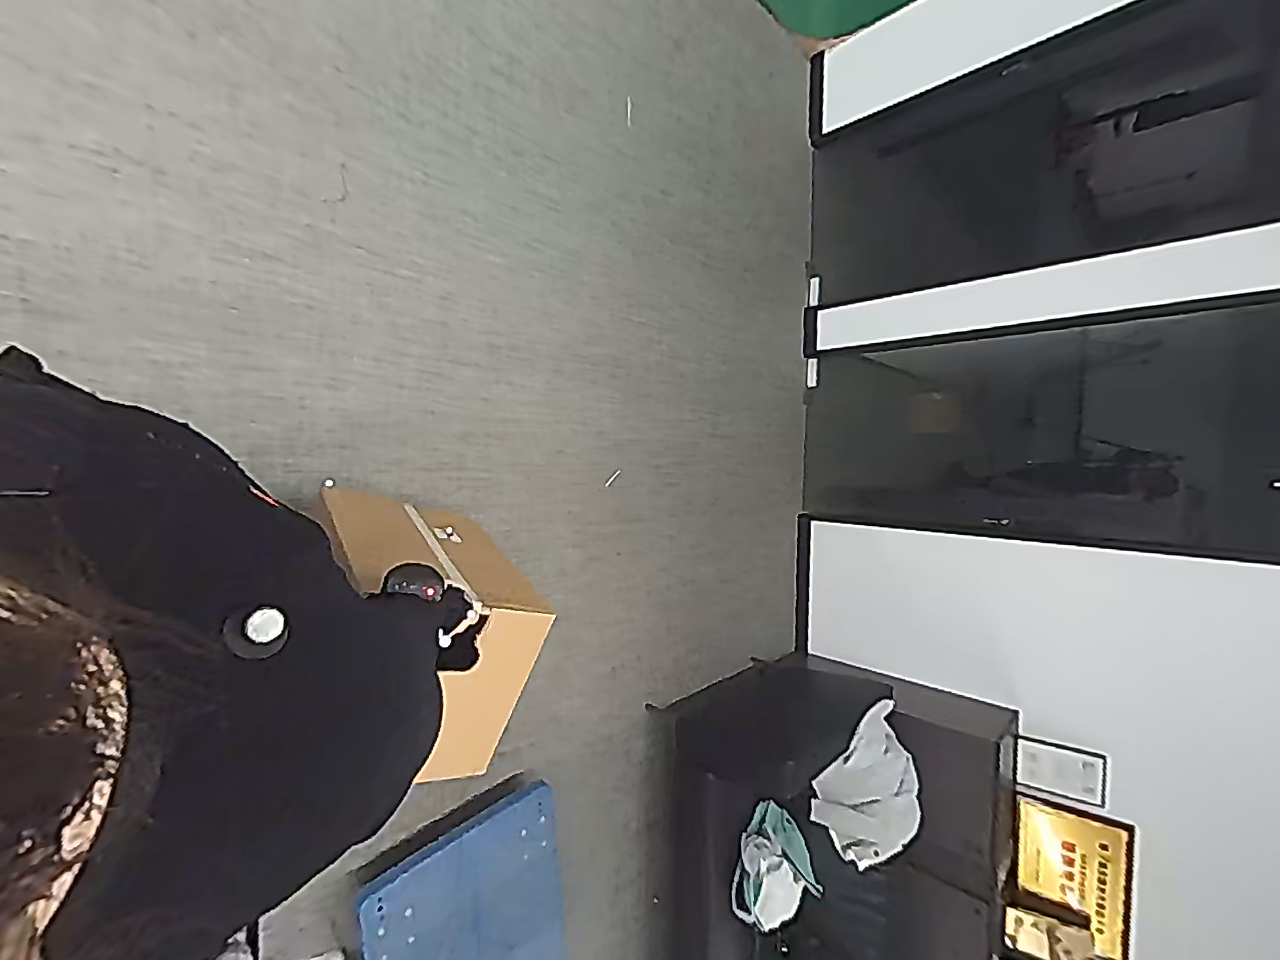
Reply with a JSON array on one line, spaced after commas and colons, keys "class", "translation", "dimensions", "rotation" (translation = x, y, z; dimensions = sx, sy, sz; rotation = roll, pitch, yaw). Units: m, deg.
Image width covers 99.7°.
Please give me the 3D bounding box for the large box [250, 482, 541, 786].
[{"class": "large box", "translation": [-0.443, 0.245, 0.946], "dimensions": [0.320, 0.408, 0.320], "rotation": [22, 95, -42]}]
